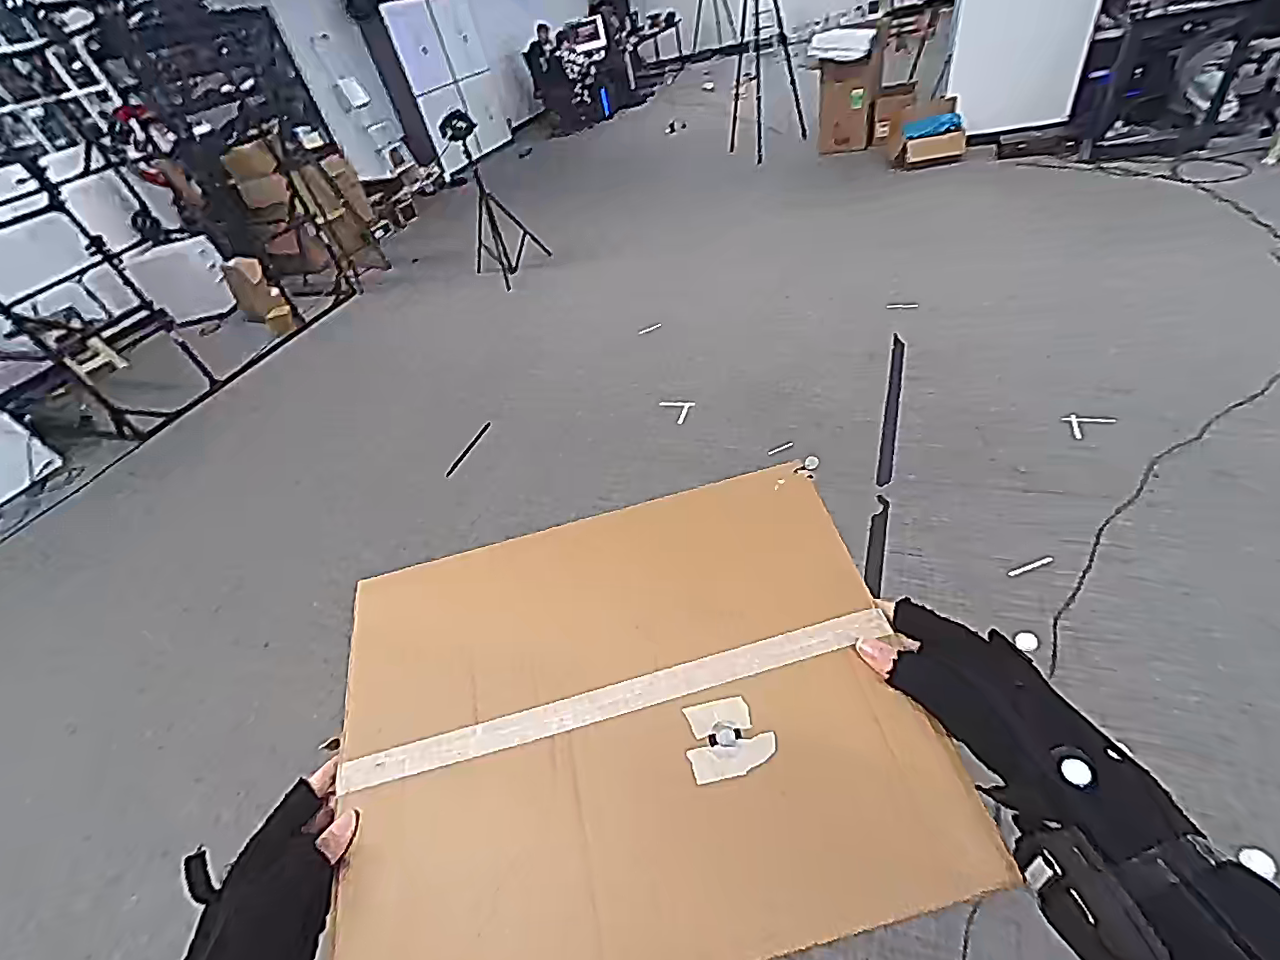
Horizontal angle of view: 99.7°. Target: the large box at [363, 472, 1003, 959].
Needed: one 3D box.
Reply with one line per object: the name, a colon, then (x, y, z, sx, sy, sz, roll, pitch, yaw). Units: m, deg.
large box: (0.013, 0.248, 0.521, 0.408, 0.320, 0.320, -15, 55, -2)
